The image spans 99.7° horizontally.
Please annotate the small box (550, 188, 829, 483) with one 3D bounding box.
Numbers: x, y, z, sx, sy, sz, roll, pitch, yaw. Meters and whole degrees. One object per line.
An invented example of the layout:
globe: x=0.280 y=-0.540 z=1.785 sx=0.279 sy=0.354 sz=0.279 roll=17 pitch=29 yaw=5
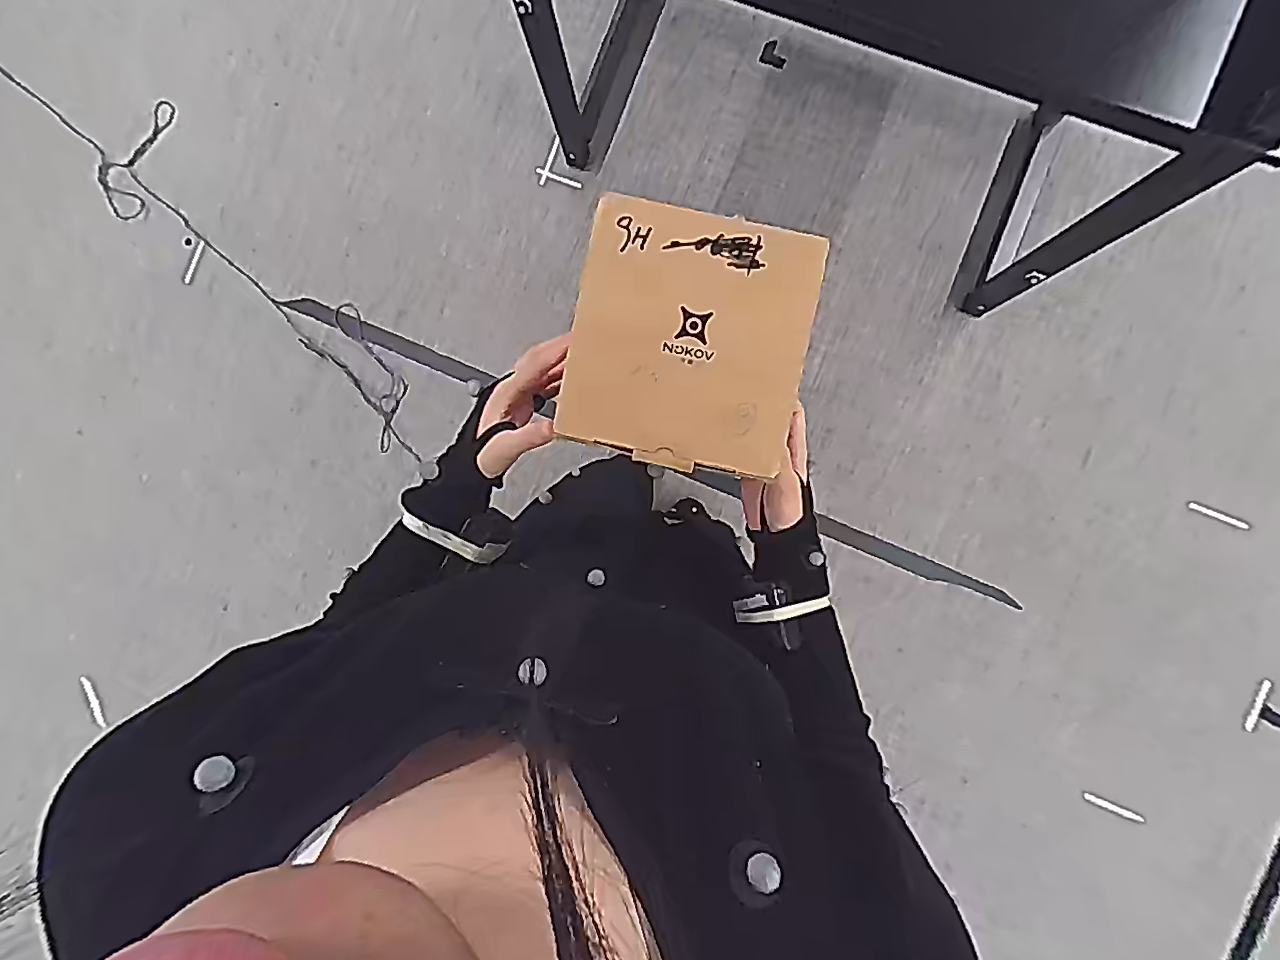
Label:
small box: x=0.034 y=-0.104 z=0.457 sx=0.168 sy=0.176 sz=0.179 roll=13 pitch=93 yaw=-1
